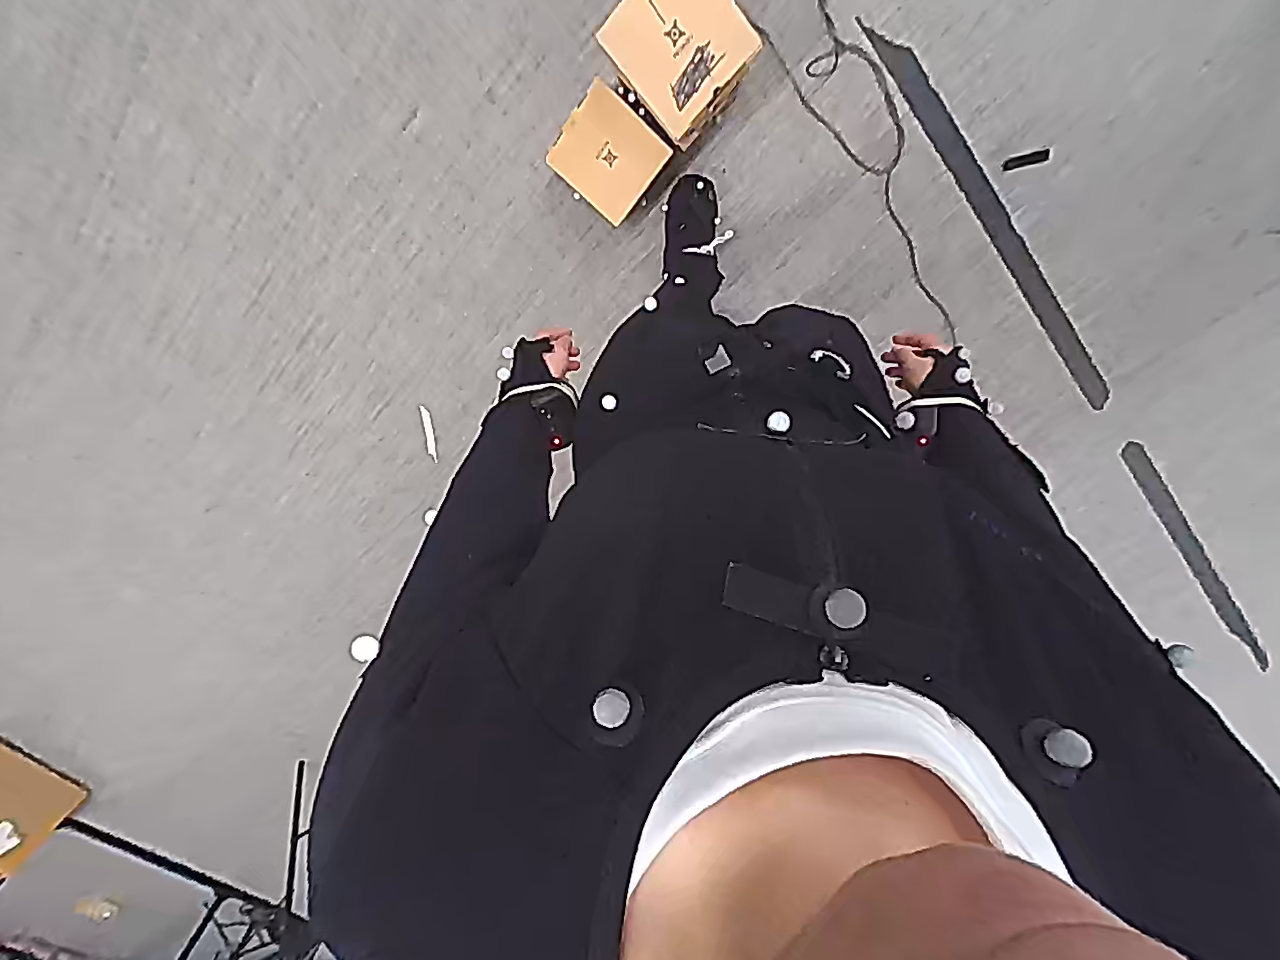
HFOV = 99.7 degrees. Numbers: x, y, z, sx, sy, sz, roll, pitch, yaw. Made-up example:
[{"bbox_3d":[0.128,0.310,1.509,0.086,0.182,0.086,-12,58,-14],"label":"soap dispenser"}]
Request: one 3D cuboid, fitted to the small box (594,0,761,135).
[{"bbox_3d":[0.058,-0.655,0.813,0.168,0.176,0.179,-39,110,22],"label":"small box"}]
